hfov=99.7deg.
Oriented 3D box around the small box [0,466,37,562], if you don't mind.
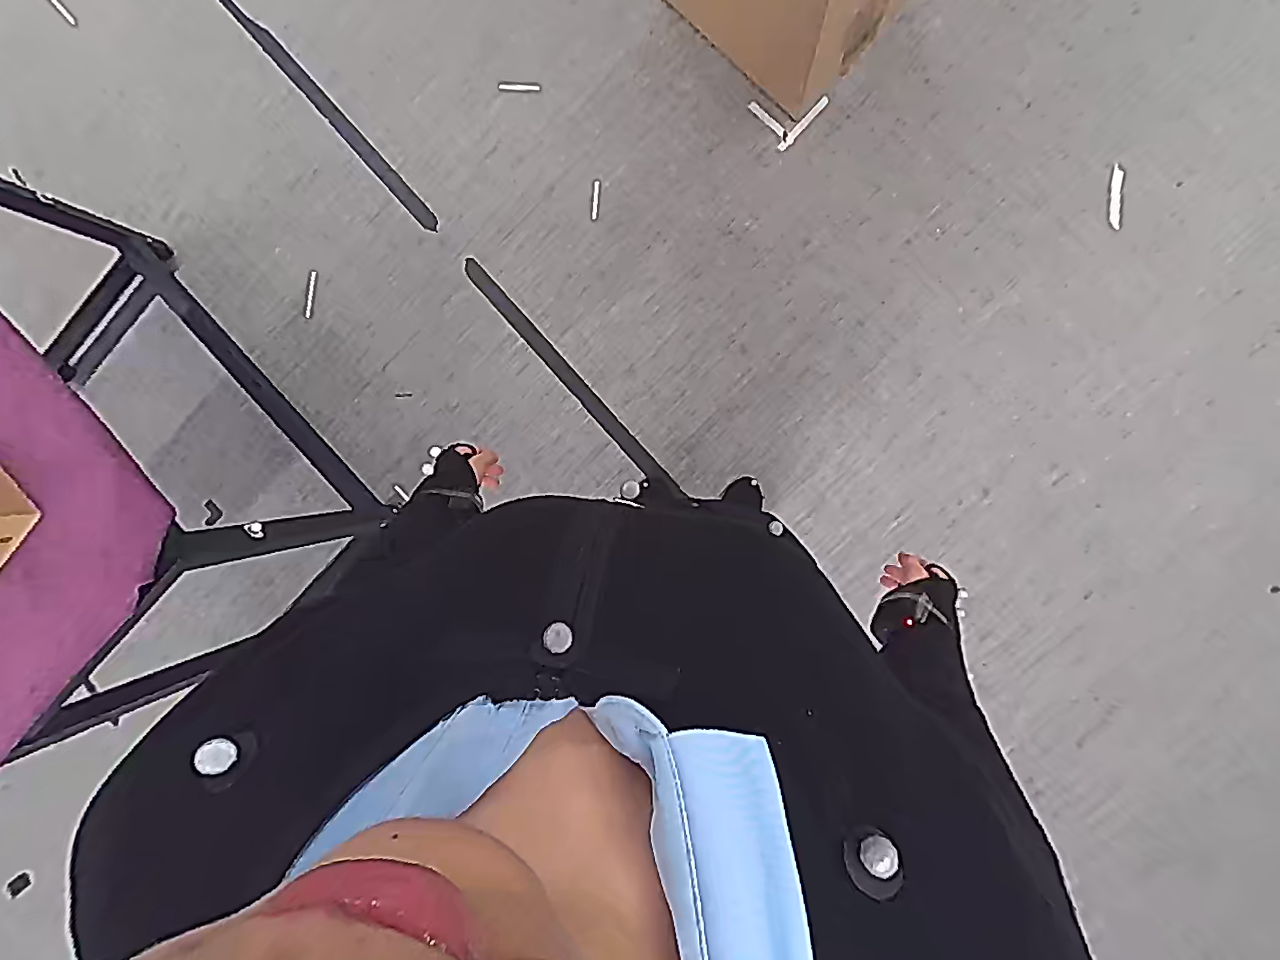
[{"bbox_3d":[-1.128,0.059,0.845,0.179,0.176,0.168,44,96,5],"label":"small box"}]
